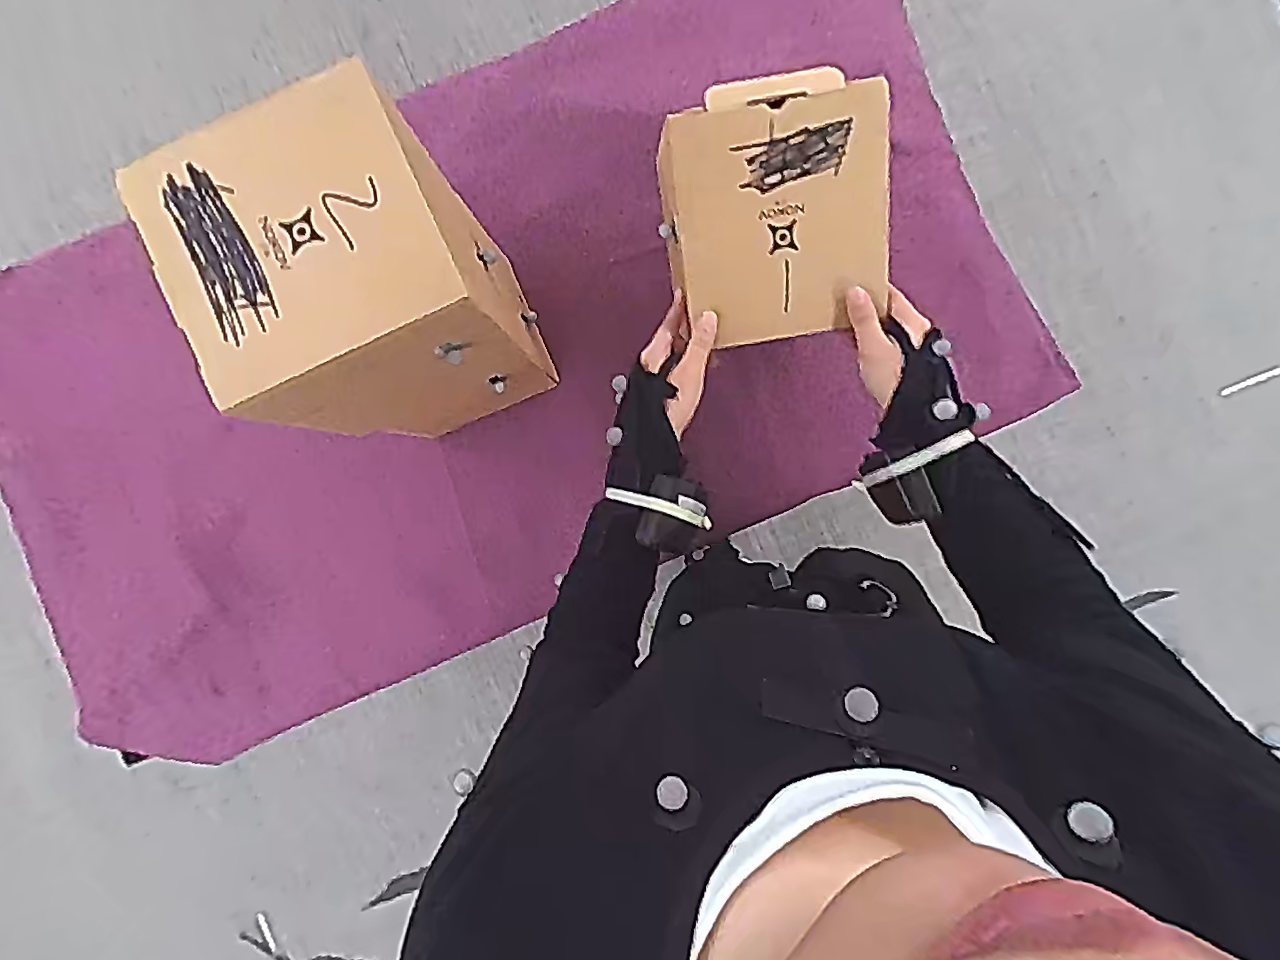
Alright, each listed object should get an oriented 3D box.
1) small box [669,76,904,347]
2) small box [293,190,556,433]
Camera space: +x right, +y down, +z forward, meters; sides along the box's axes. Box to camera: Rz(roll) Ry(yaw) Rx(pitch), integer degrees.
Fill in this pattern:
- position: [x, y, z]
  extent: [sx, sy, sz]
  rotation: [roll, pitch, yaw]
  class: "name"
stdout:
- position: [0.120, -0.228, 0.495]
  extent: [0.168, 0.176, 0.179]
  rotation: [-8, 111, 3]
  class: "small box"
- position: [-0.210, -0.159, 0.575]
  extent: [0.179, 0.176, 0.168]
  rotation: [-23, 90, 1]
  class: "small box"
